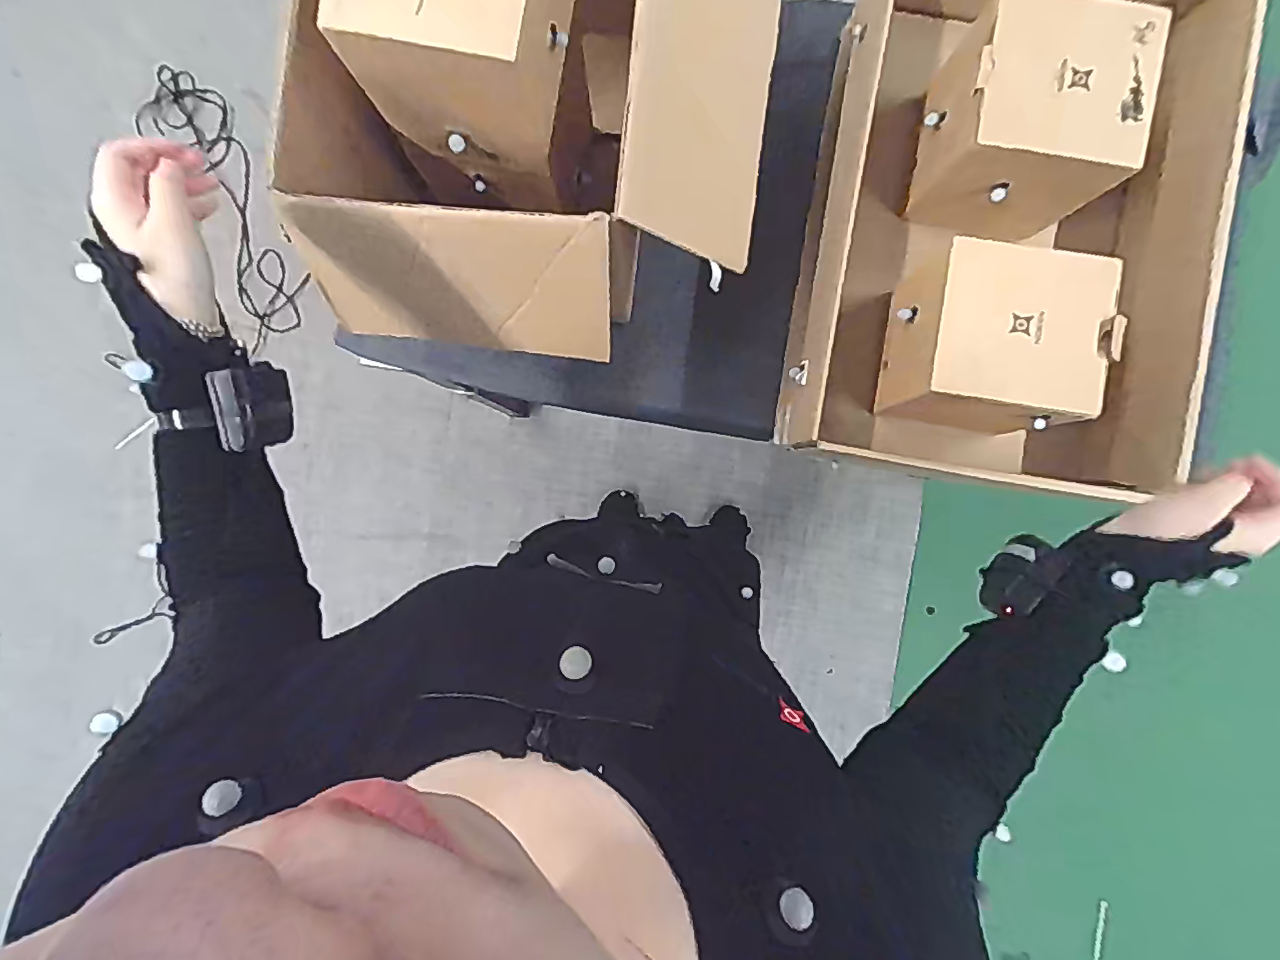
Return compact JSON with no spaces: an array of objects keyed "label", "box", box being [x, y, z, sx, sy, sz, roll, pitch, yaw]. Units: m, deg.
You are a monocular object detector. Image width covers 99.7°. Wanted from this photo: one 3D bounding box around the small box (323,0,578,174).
[{"label":"small box","box":[-0.159,-0.433,0.513,0.168,0.176,0.179,11,92,0]}]
